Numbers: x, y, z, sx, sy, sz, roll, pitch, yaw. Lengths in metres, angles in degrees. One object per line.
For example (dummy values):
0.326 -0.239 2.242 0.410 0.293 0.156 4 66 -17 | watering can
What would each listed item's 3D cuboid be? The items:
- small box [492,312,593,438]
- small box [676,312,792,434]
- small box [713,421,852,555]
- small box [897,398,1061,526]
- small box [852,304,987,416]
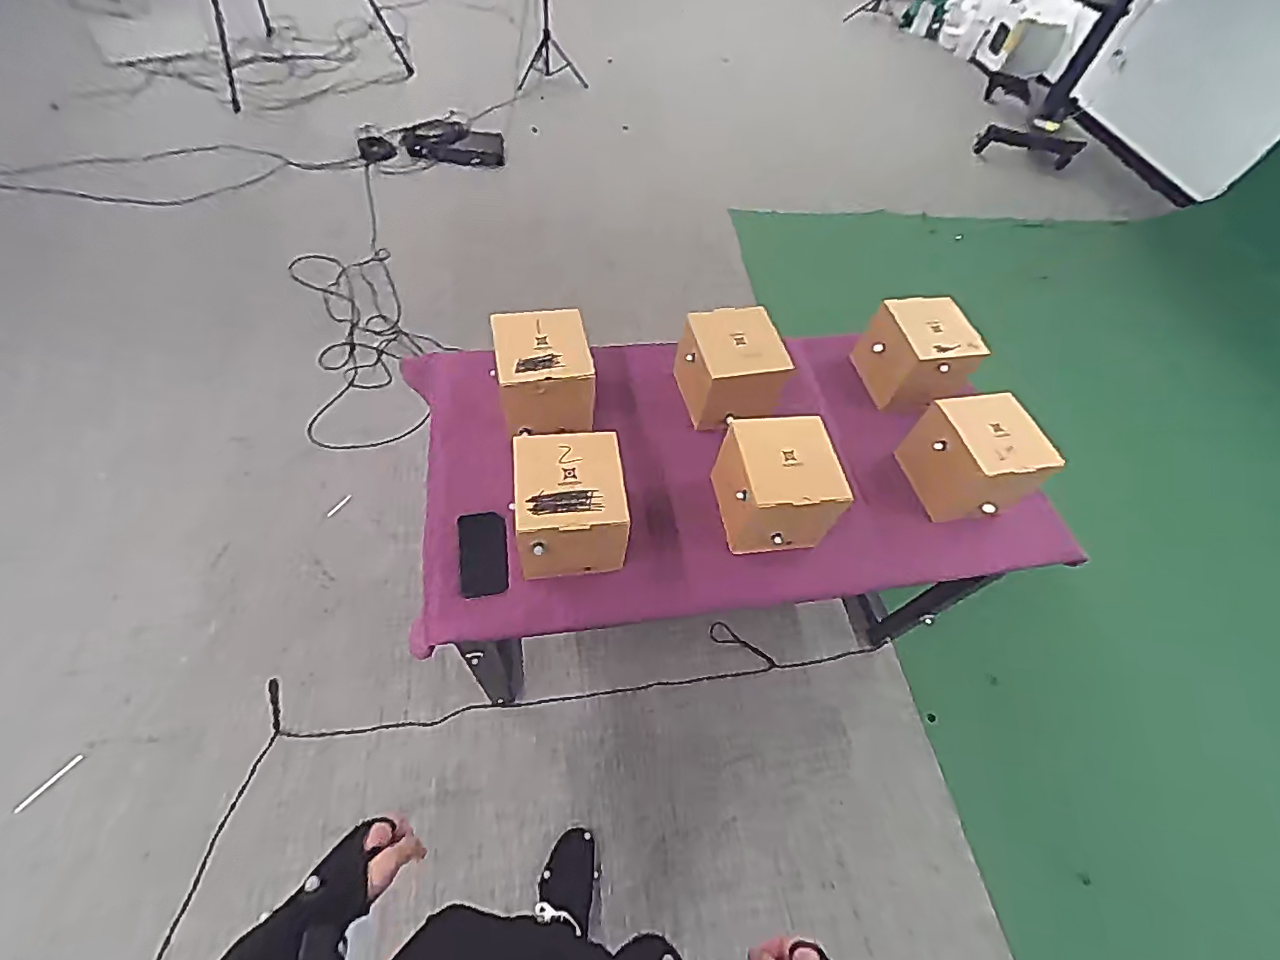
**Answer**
-0.185 -0.194 1.035 0.168 0.176 0.179 -8 58 -13 | small box
0.179 -0.216 1.101 0.168 0.176 0.179 -8 59 -12 | small box
0.237 0.015 0.957 0.168 0.176 0.179 -3 57 -10 | small box
0.632 -0.033 1.038 0.168 0.176 0.179 -6 57 -10 | small box
0.598 -0.262 1.186 0.168 0.176 0.179 -7 58 -11 | small box
